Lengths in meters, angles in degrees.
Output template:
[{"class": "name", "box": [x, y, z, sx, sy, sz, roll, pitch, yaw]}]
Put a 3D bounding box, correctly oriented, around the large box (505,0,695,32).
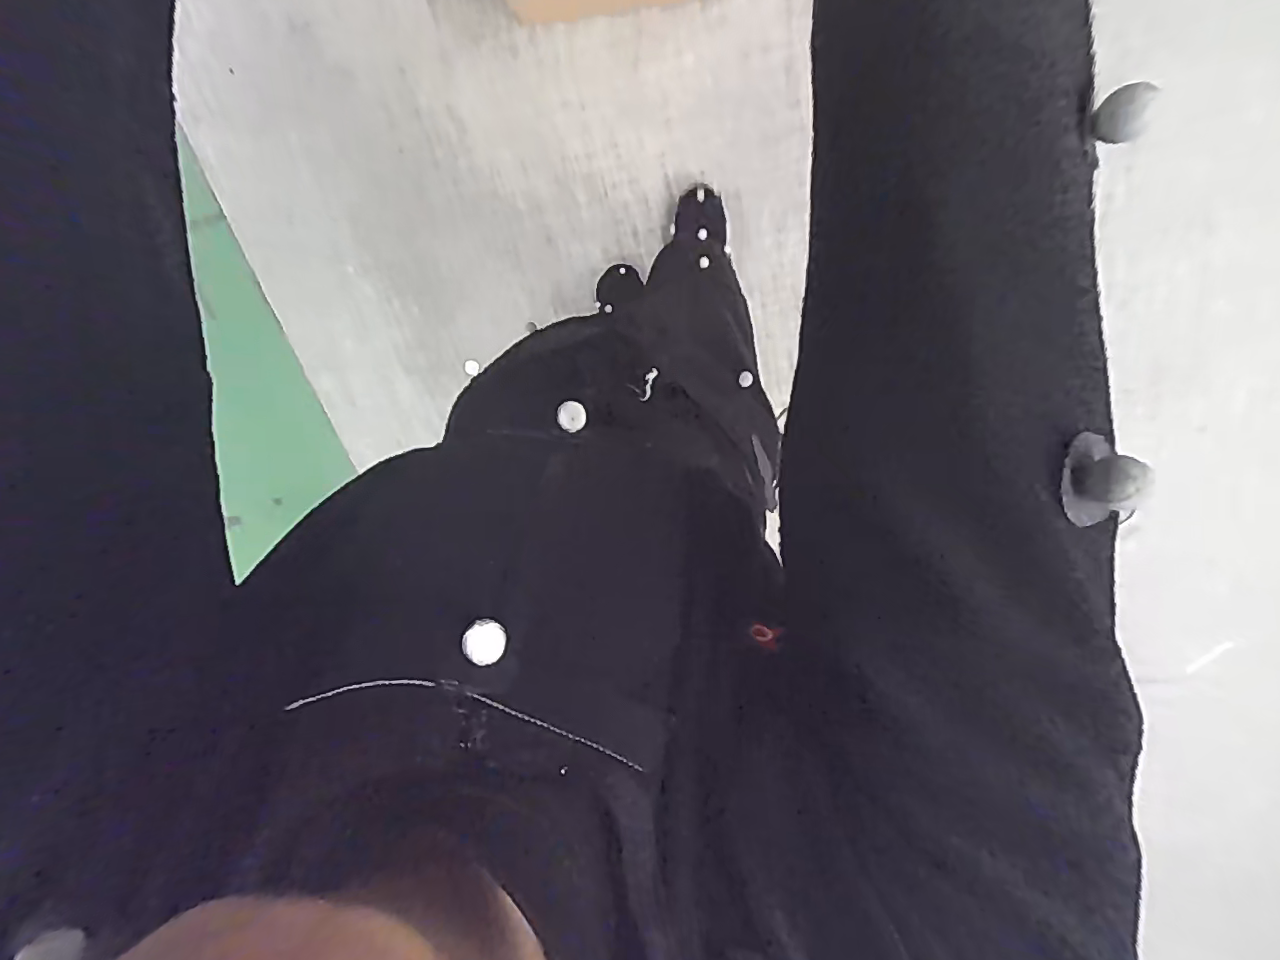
[{"class": "large box", "box": [-0.050, -0.944, 0.811, 0.408, 0.320, 0.320, -6, 115, 4]}]
